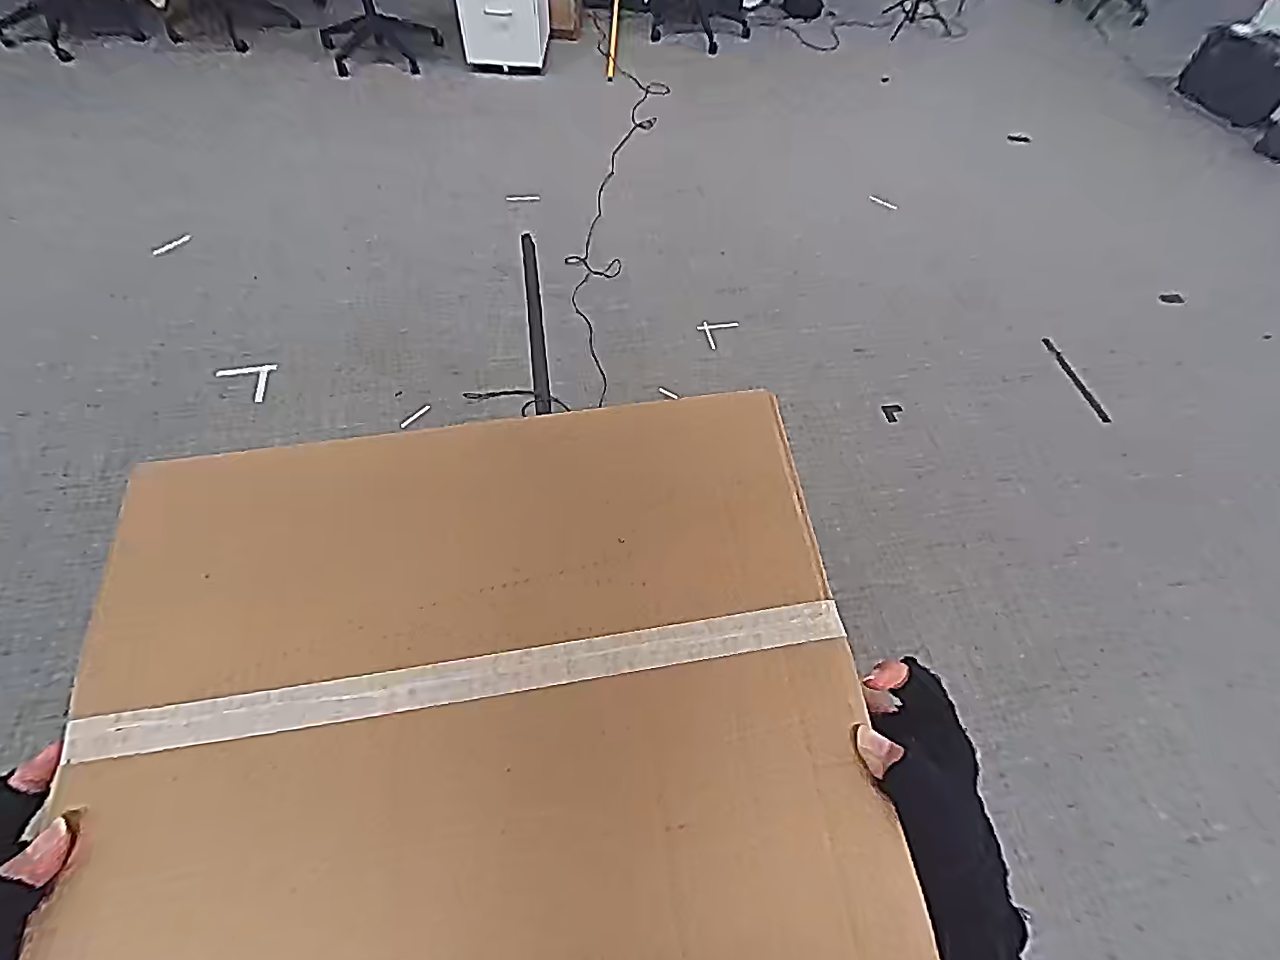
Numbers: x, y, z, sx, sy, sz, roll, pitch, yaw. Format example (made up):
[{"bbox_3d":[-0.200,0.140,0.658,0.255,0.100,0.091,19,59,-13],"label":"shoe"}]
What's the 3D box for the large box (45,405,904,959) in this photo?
[{"bbox_3d":[-0.091,0.172,0.436,0.408,0.320,0.320,-8,66,-5],"label":"large box"}]
